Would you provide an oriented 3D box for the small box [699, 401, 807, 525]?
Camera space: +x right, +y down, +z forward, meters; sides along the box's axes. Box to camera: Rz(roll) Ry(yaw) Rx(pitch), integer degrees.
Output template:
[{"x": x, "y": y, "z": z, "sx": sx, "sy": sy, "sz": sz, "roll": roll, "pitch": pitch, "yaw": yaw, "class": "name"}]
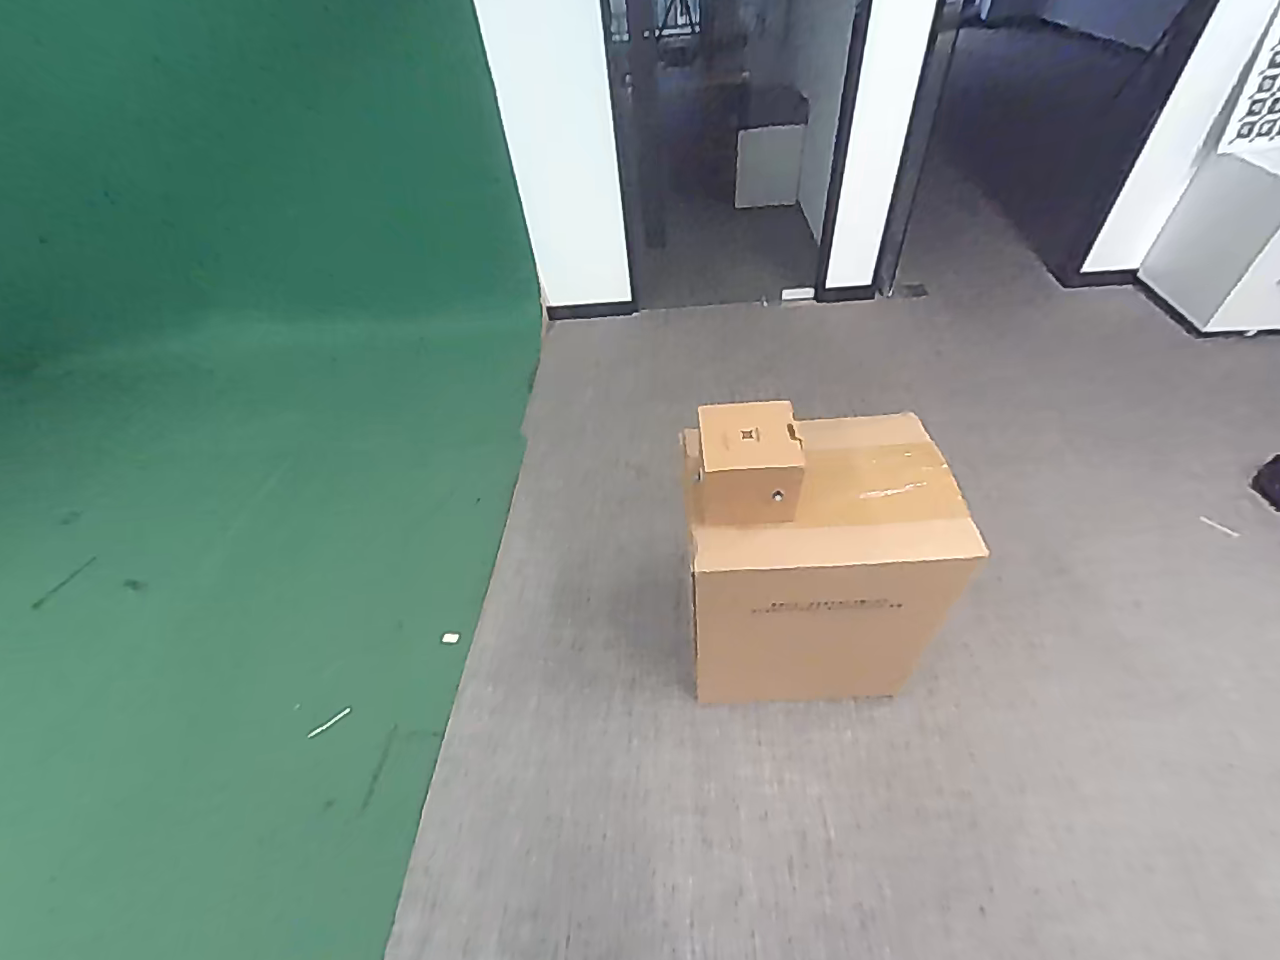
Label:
[{"x": 0.207, "y": -0.030, "z": 1.039, "sx": 0.179, "sy": 0.176, "sz": 0.168, "roll": -5, "pitch": 50, "yaw": 5, "class": "small box"}]
